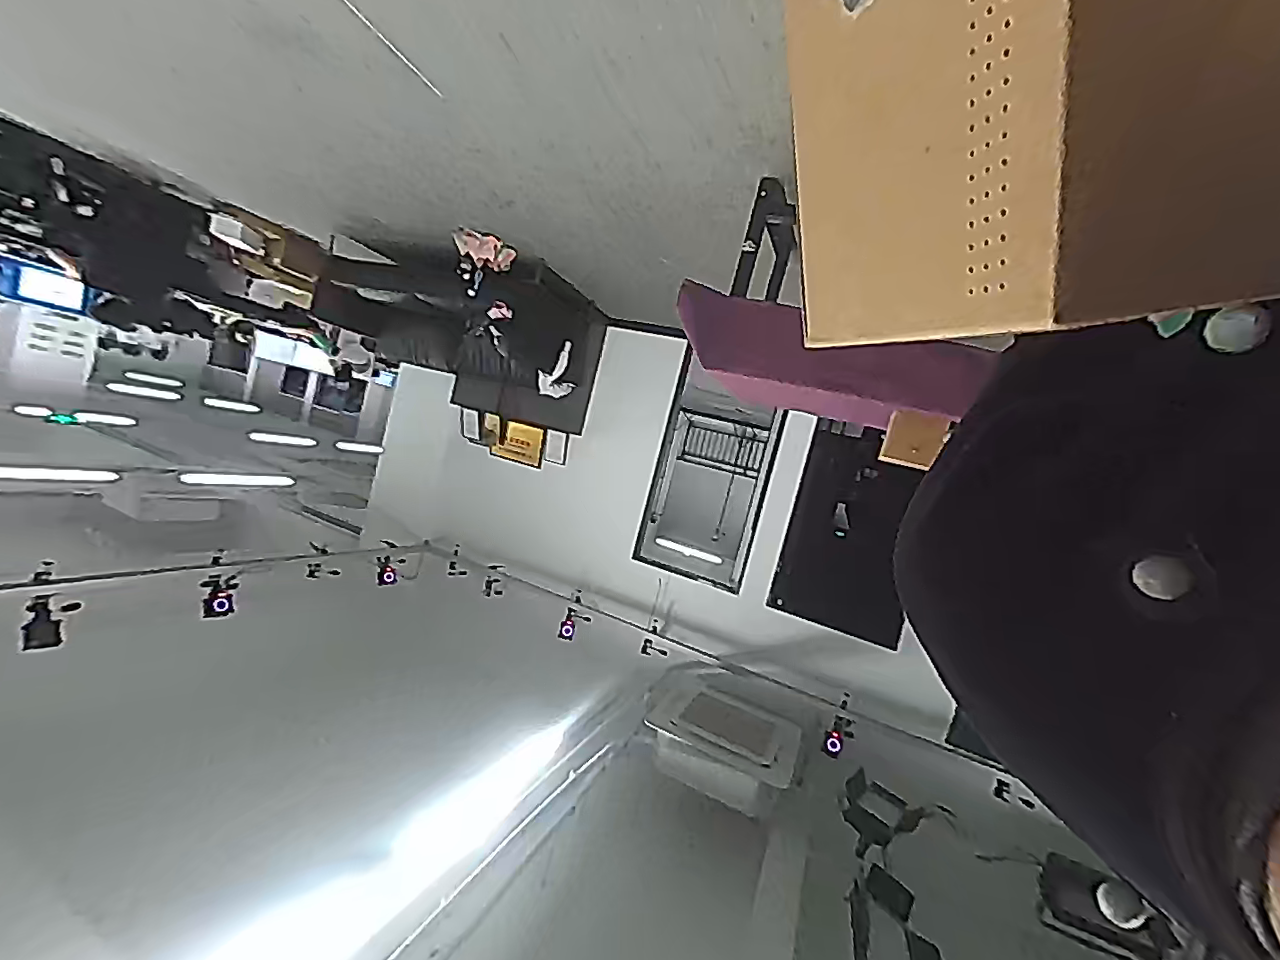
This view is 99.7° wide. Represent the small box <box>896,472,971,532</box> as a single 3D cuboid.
[{"bbox_3d":[1.019,0.072,1.875,0.168,0.176,0.179,16,-178,10],"label":"small box"}]
